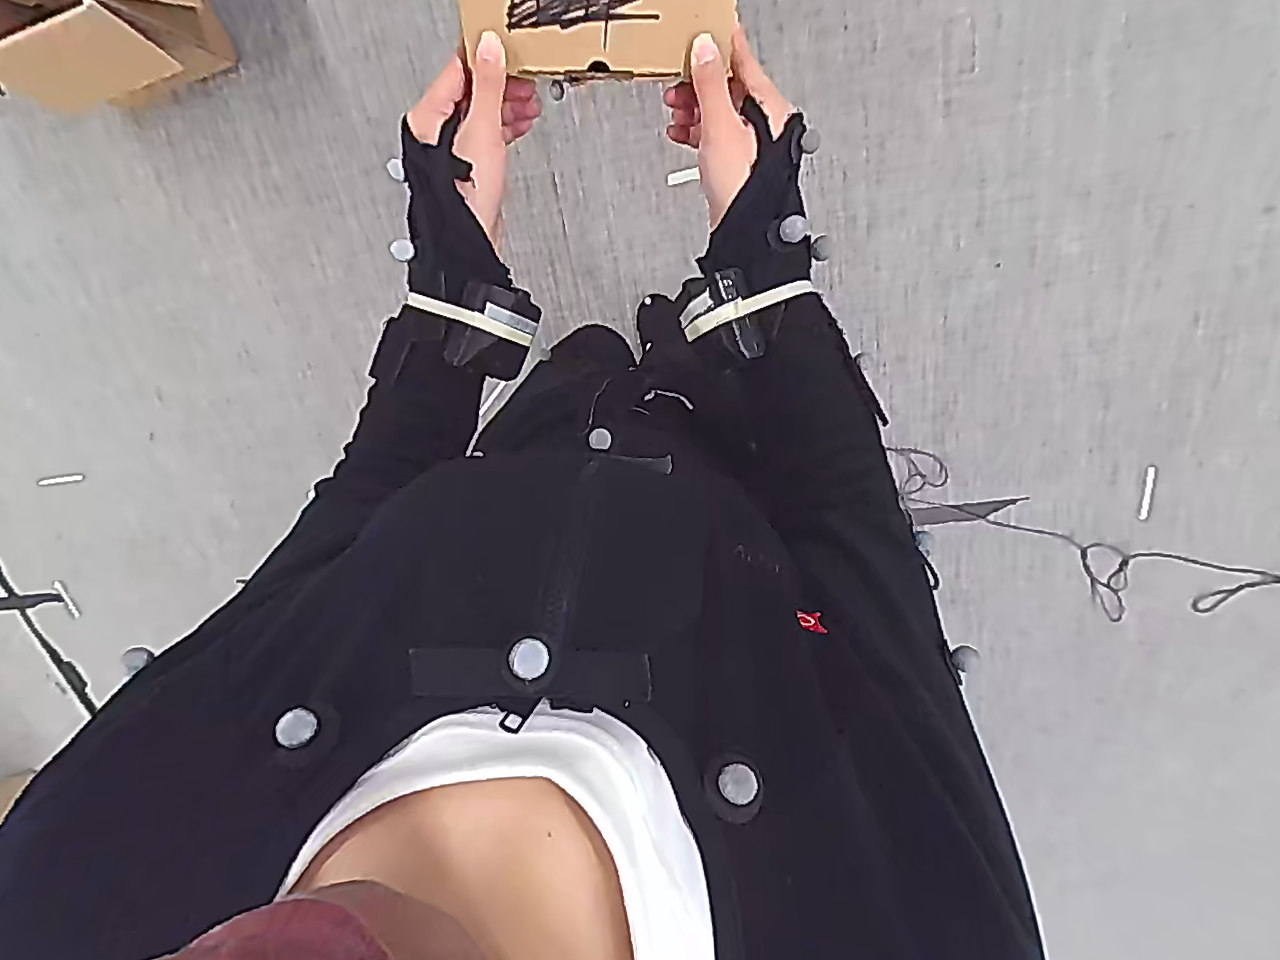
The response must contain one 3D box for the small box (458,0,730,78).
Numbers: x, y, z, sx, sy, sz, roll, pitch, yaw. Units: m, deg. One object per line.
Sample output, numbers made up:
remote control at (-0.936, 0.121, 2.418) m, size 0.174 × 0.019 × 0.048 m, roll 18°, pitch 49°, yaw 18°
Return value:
small box at (-0.021, -0.373, 0.353) m, size 0.168 × 0.176 × 0.179 m, roll 2°, pitch 125°, yaw 1°
